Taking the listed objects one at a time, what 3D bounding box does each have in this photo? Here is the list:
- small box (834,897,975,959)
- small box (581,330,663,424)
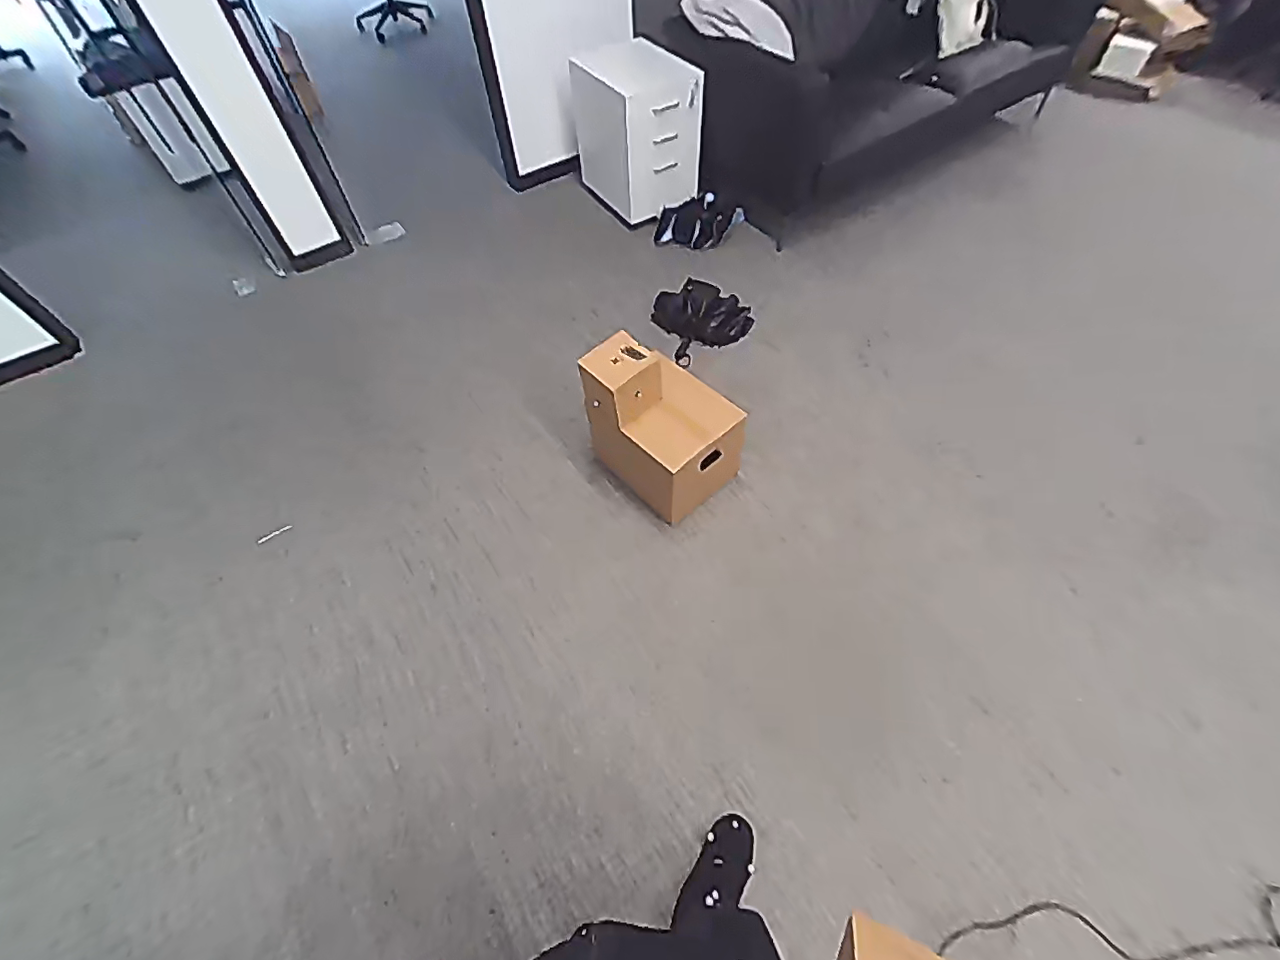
[{"bbox_3d":[0.318,0.672,0.648,0.168,0.179,0.176,17,87,21],"label":"small box"},{"bbox_3d":[-0.047,-0.300,1.591,0.179,0.176,0.168,-39,62,-16],"label":"small box"}]
